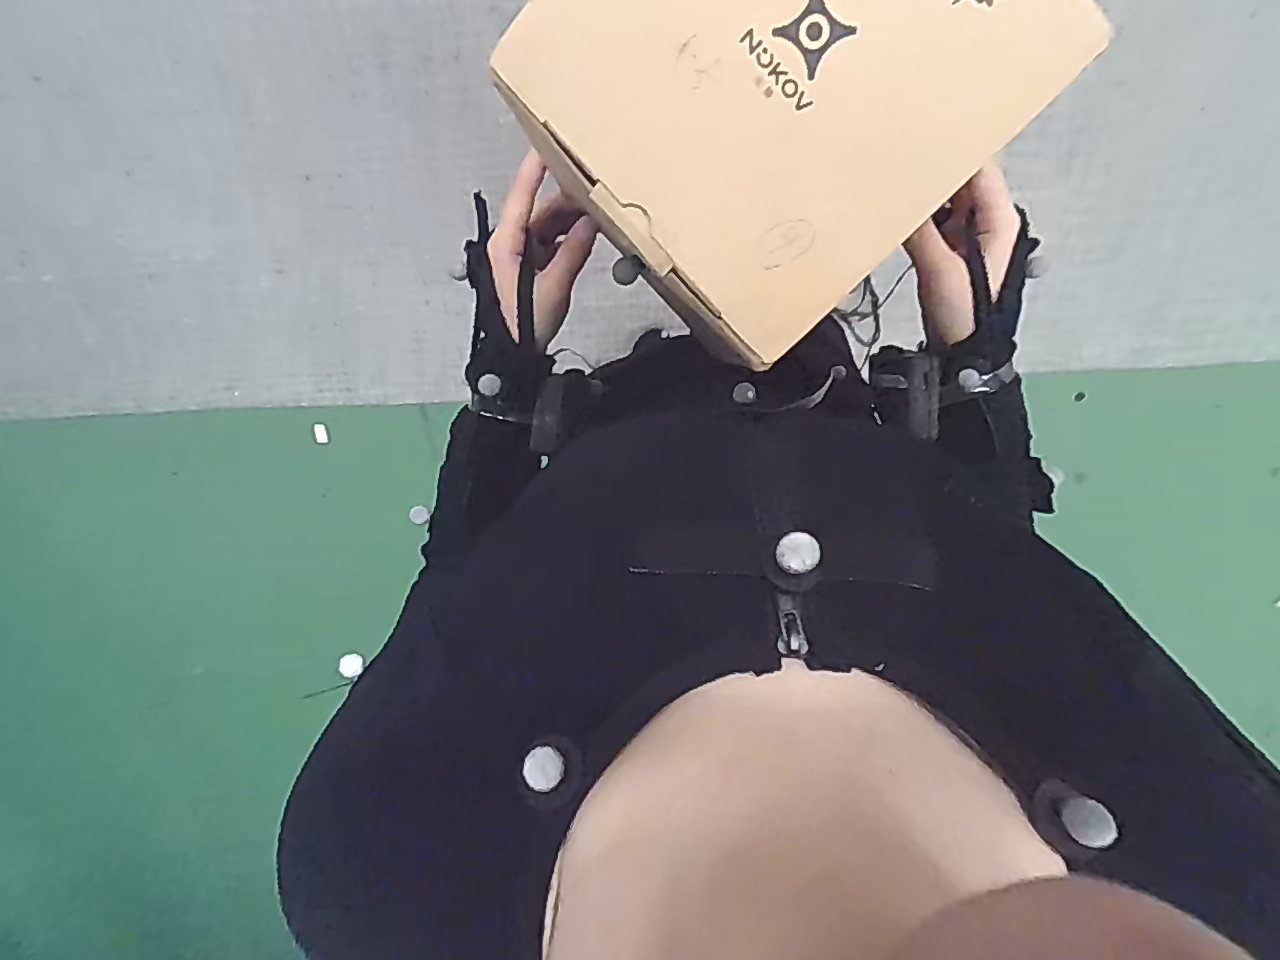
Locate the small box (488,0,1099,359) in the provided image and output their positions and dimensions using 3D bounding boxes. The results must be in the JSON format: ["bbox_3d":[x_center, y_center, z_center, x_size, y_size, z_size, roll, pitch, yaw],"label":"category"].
[{"bbox_3d":[0.059,-0.183,0.284,0.179,0.176,0.168,-43,99,12],"label":"small box"}]
